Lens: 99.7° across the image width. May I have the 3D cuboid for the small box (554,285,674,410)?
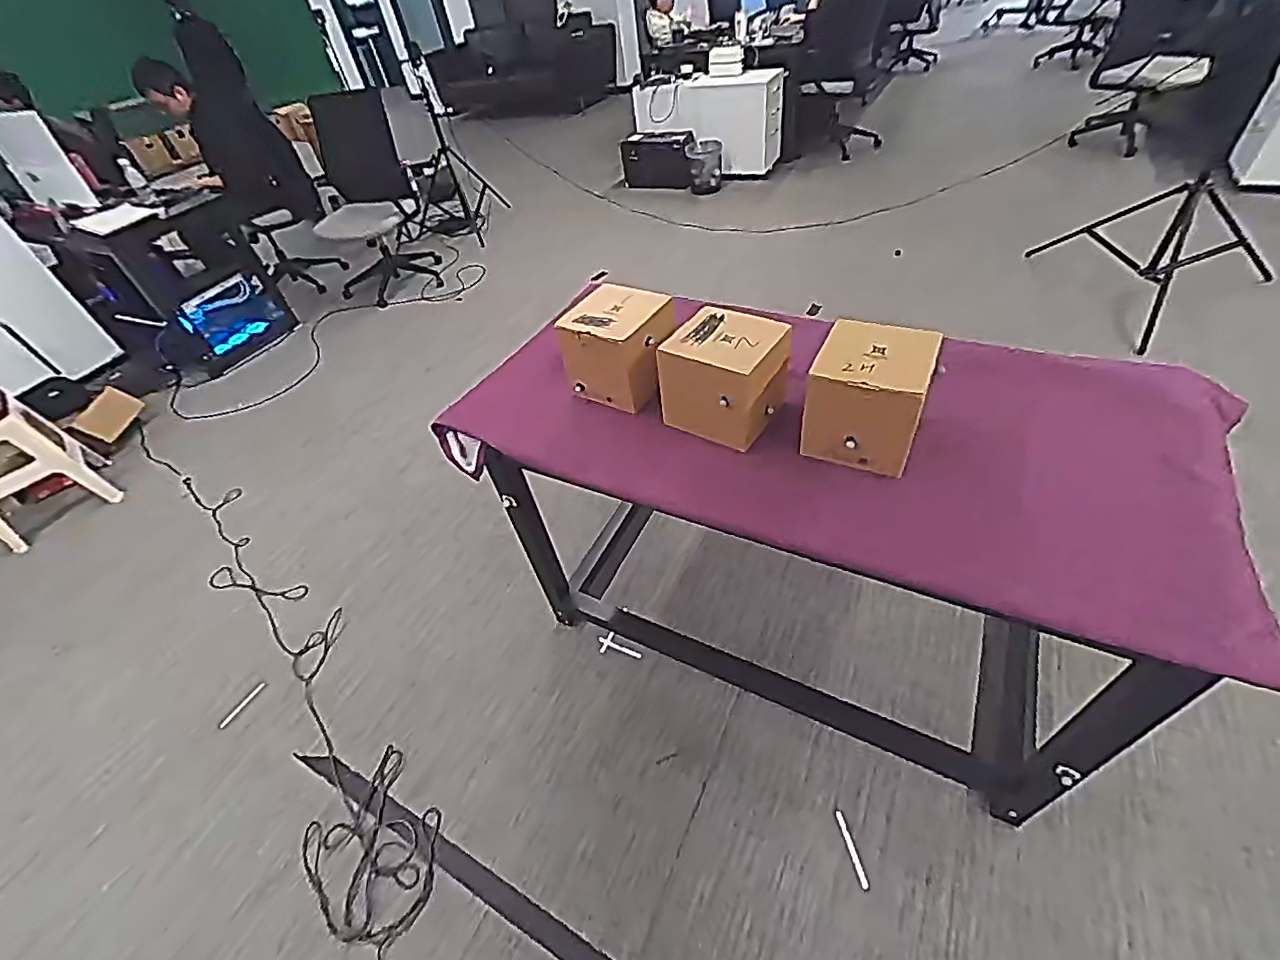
[{"bbox_3d":[-0.042,-0.267,1.095,0.168,0.176,0.179,21,53,27],"label":"small box"}]

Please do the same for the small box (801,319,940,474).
[{"bbox_3d":[0.374,-0.140,0.895,0.168,0.176,0.179,17,51,25],"label":"small box"}]
